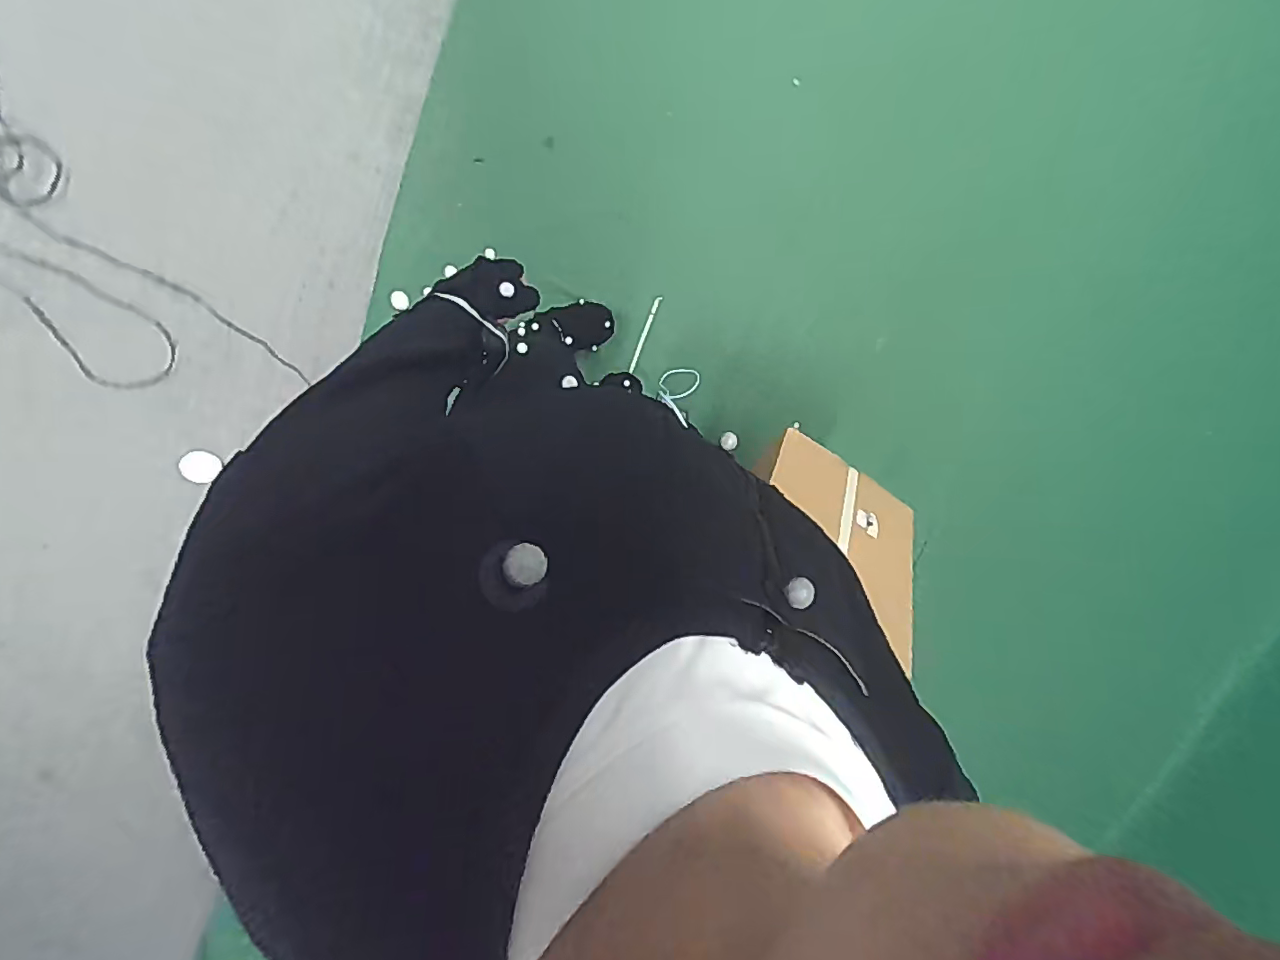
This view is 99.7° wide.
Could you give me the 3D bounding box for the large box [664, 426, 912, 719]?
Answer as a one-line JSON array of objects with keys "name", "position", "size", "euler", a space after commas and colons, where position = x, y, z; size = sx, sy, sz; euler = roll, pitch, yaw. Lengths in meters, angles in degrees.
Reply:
[{"name": "large box", "position": [0.295, 0.176, 1.065], "size": [0.320, 0.408, 0.320], "euler": [34, 134, -2]}]
